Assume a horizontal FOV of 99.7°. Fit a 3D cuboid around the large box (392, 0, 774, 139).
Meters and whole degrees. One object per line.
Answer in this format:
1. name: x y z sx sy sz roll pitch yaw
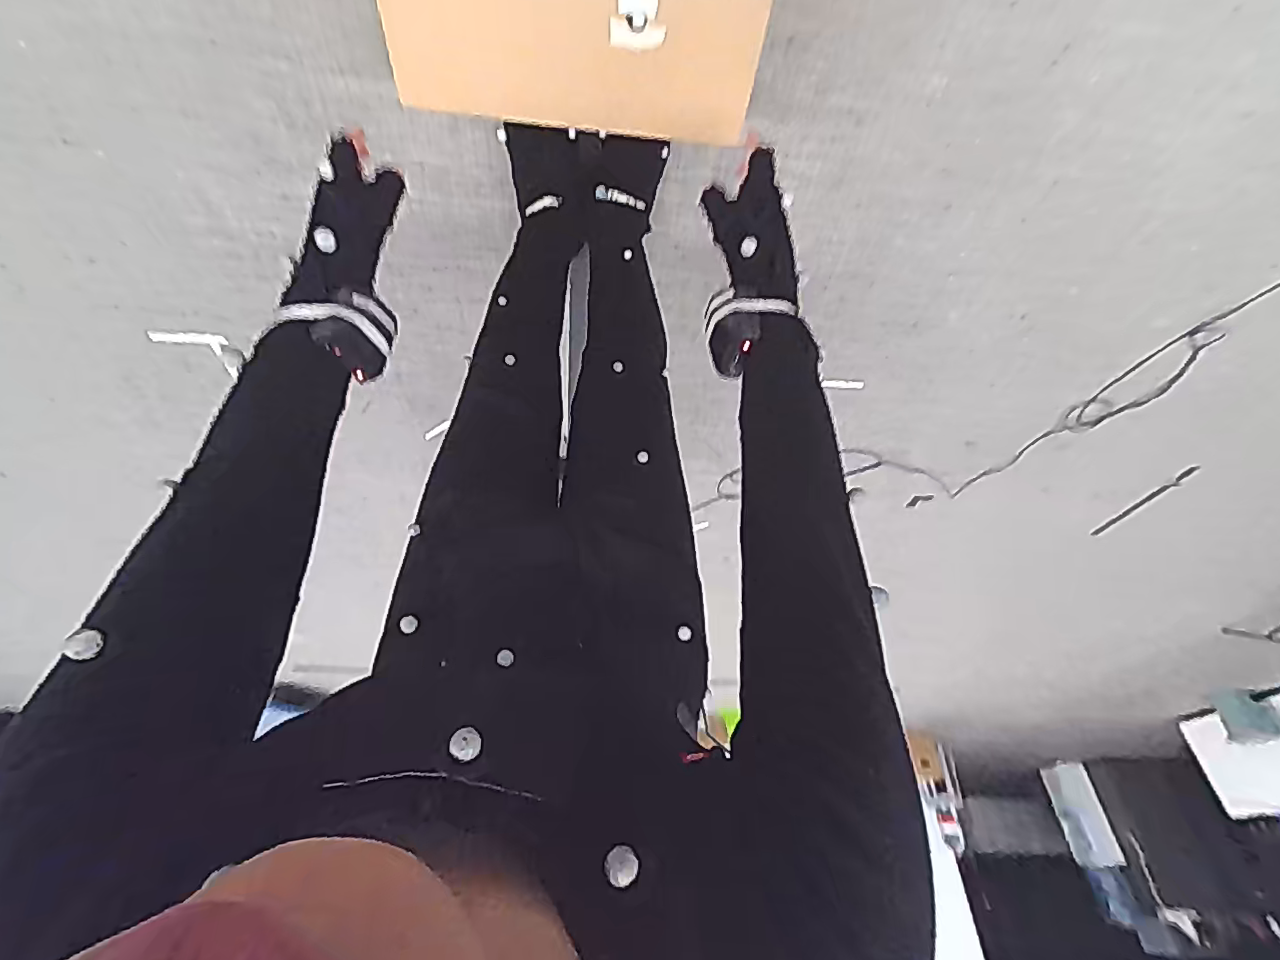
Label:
1. large box: -0.059 -0.638 0.625 0.408 0.320 0.320 3 143 -5
